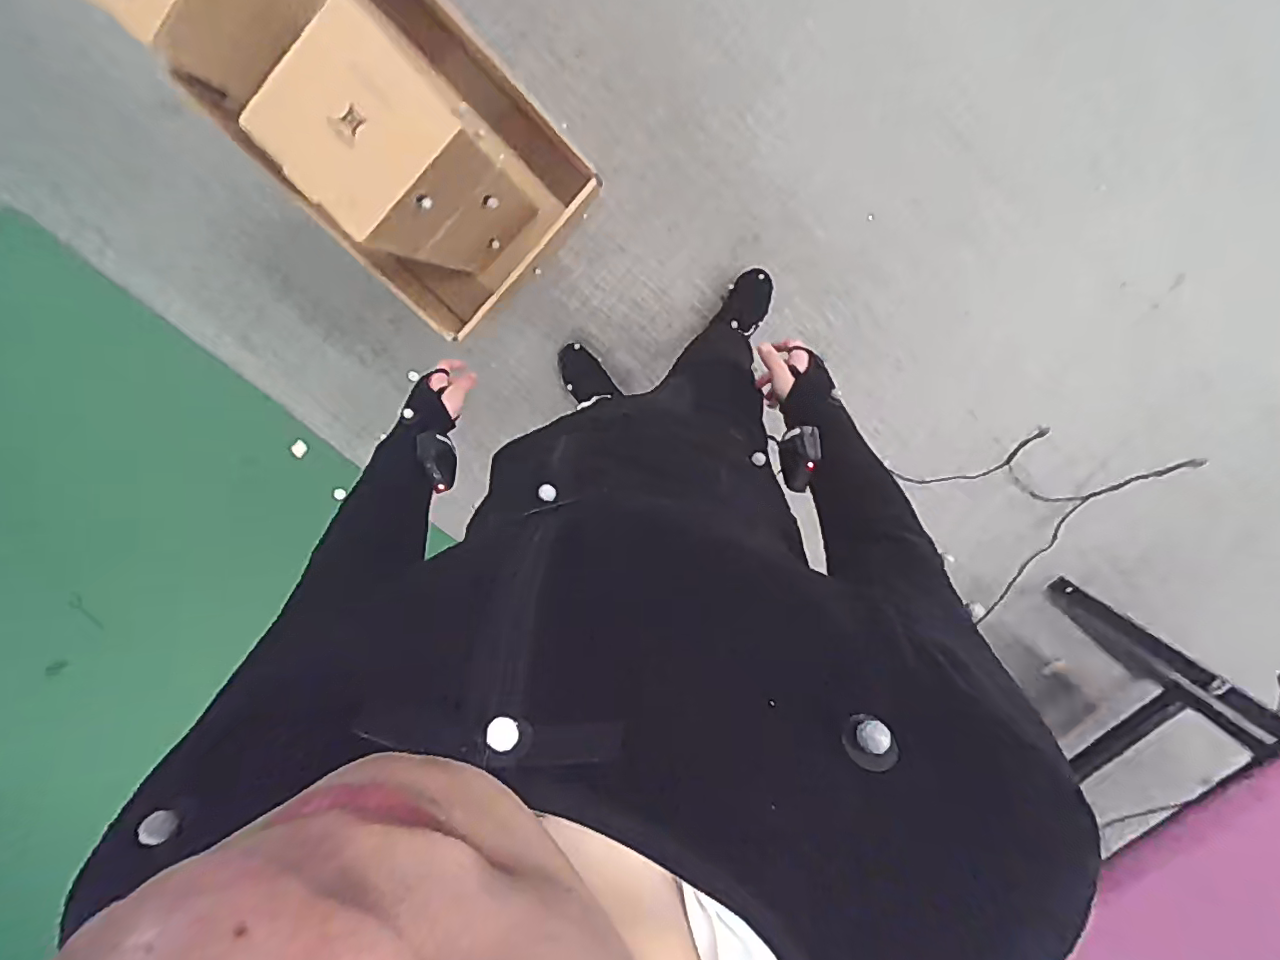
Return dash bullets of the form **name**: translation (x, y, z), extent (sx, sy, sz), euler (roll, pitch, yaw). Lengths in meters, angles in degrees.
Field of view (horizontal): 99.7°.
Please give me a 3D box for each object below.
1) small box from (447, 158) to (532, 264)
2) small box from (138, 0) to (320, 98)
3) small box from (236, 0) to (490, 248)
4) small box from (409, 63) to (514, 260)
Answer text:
- **small box**: translation (-0.313, -0.503, 0.951), extent (0.179, 0.176, 0.168), euler (-42, 104, 13)
- **small box**: translation (-0.503, -0.625, 0.737), extent (0.168, 0.176, 0.179), euler (41, 105, -13)
- **small box**: translation (-0.306, -0.401, 0.640), extent (0.179, 0.176, 0.168), euler (-41, 104, 11)
- **small box**: translation (-0.306, -0.451, 0.795), extent (0.179, 0.176, 0.168), euler (-41, 103, 12)
